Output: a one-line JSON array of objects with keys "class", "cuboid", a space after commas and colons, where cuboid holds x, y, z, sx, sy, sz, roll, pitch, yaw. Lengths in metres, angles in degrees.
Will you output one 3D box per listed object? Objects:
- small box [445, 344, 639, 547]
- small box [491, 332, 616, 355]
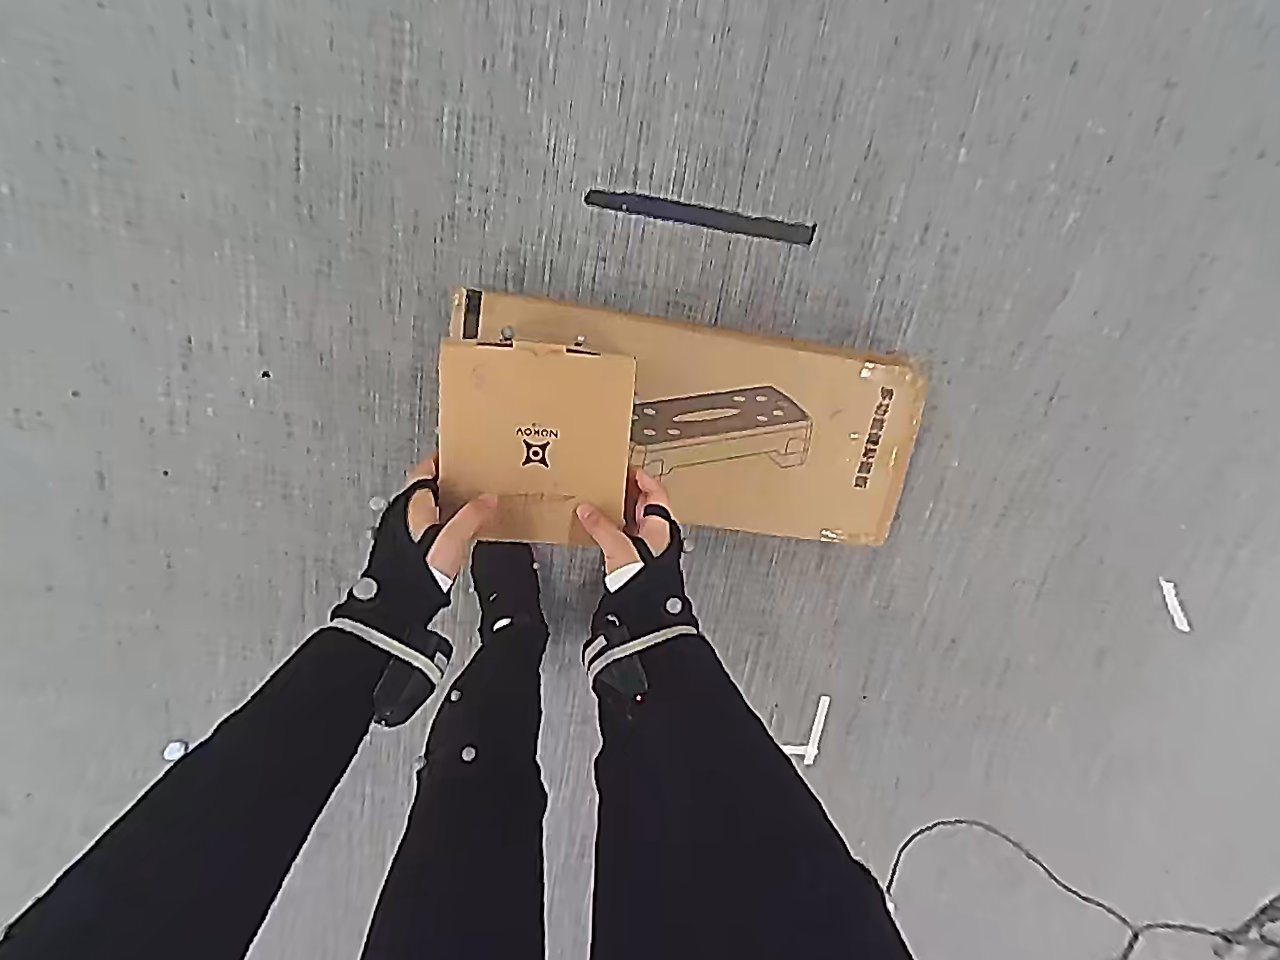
[{"class": "small box", "cuboid": [-0.097, -0.045, 0.553, 0.168, 0.176, 0.179, 2, 105, -7]}, {"class": "small box", "cuboid": [-0.112, -0.092, 0.717, 0.168, 0.176, 0.179, 9, 106, -9]}]
